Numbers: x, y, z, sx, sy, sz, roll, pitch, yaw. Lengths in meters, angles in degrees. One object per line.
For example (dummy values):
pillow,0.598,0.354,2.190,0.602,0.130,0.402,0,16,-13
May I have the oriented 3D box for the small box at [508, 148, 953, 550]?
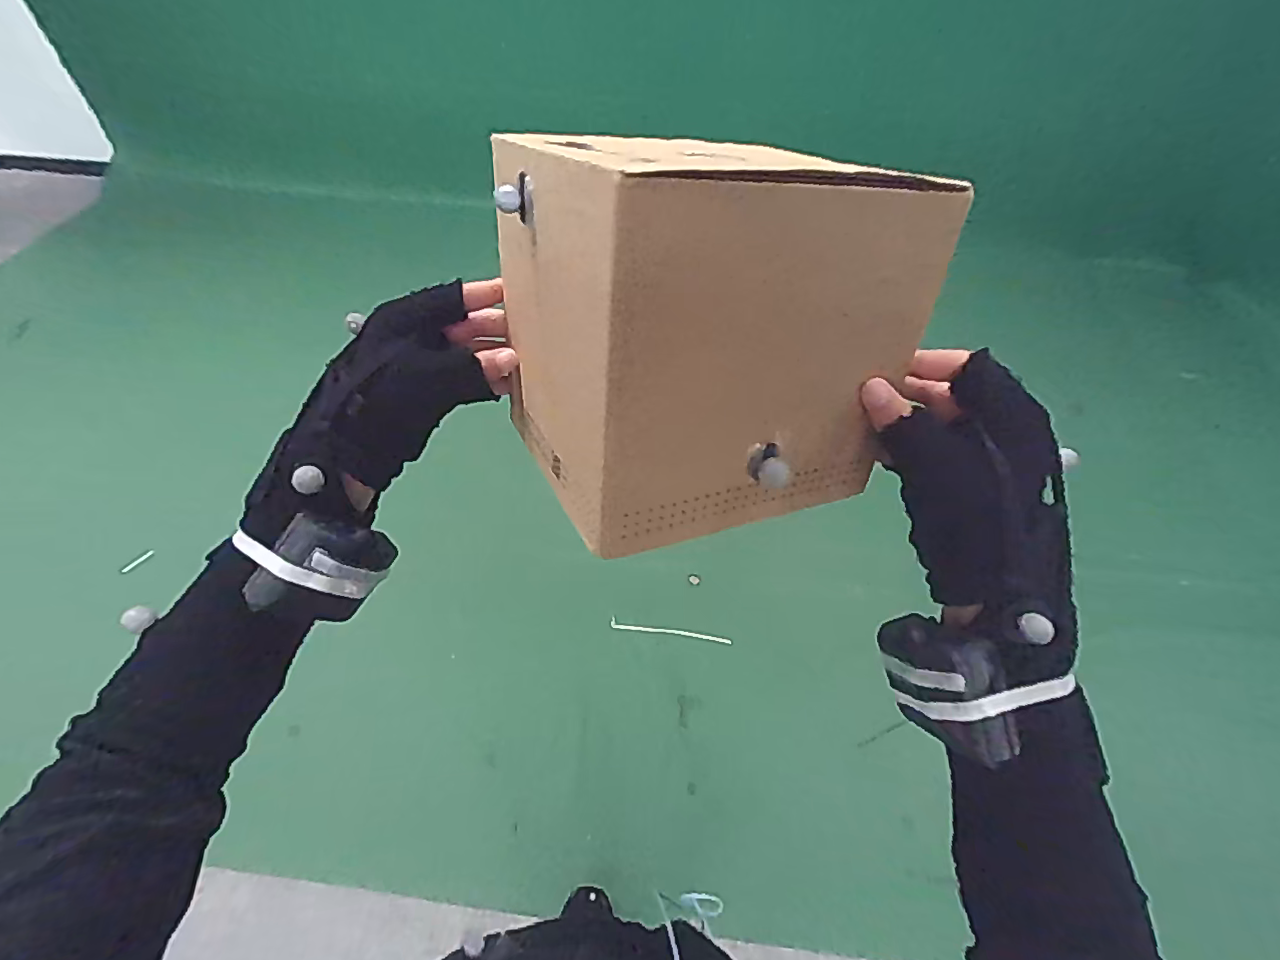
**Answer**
small box,0.028,-0.084,0.319,0.179,0.176,0.168,-11,37,-23
